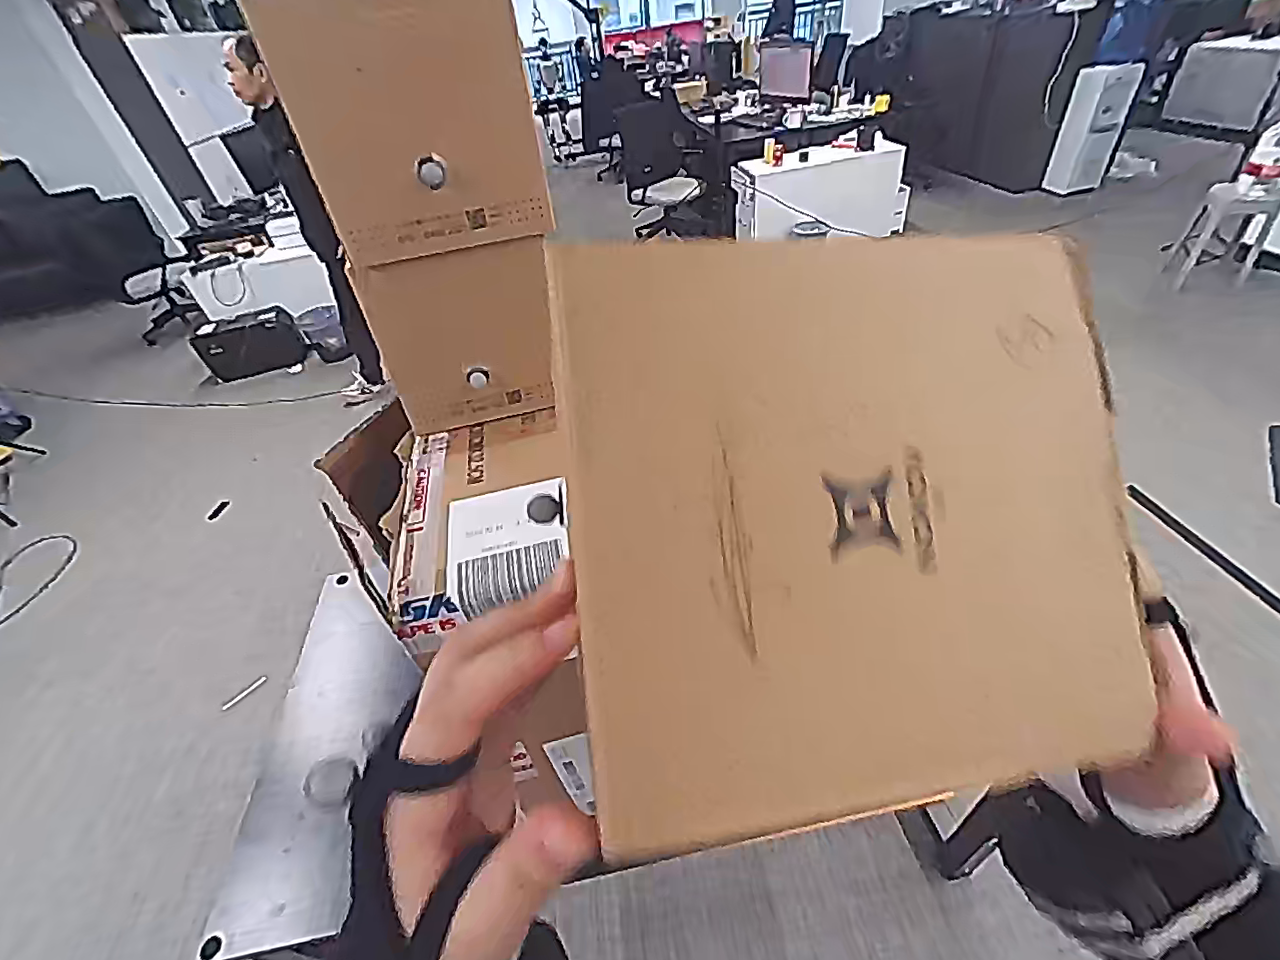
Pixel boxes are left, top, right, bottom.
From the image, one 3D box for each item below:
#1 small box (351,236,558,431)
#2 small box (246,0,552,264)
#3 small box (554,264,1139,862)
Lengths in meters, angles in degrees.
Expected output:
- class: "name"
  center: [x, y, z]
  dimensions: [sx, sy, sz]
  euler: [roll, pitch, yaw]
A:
- class: "small box"
  center: [-0.172, -0.175, 0.569]
  dimensions: [0.168, 0.176, 0.179]
  euler: [-14, 40, -7]
- class: "small box"
  center: [-0.181, -0.299, 0.459]
  dimensions: [0.168, 0.176, 0.179]
  euler: [-16, 40, -9]
- class: "small box"
  center: [0.056, 0.021, 0.243]
  dimensions: [0.179, 0.168, 0.176]
  euler: [-6, -3, -8]
